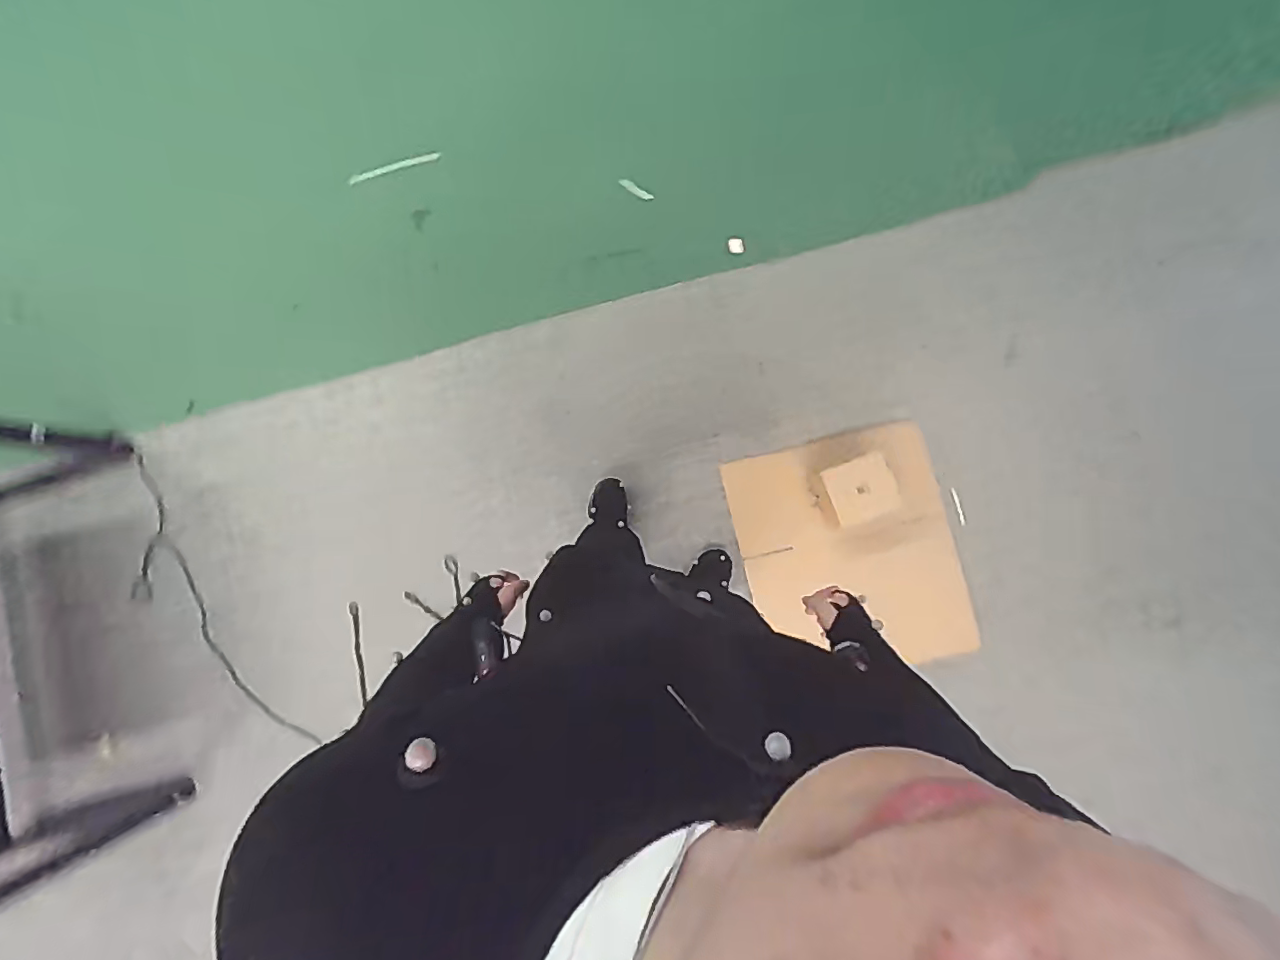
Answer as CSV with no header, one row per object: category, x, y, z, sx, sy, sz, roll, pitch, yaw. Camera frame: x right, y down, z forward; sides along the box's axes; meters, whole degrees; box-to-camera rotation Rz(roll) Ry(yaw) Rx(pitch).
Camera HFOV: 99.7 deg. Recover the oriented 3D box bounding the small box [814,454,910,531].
small box,0.611,0.036,1.510,0.179,0.176,0.168,-19,84,3
